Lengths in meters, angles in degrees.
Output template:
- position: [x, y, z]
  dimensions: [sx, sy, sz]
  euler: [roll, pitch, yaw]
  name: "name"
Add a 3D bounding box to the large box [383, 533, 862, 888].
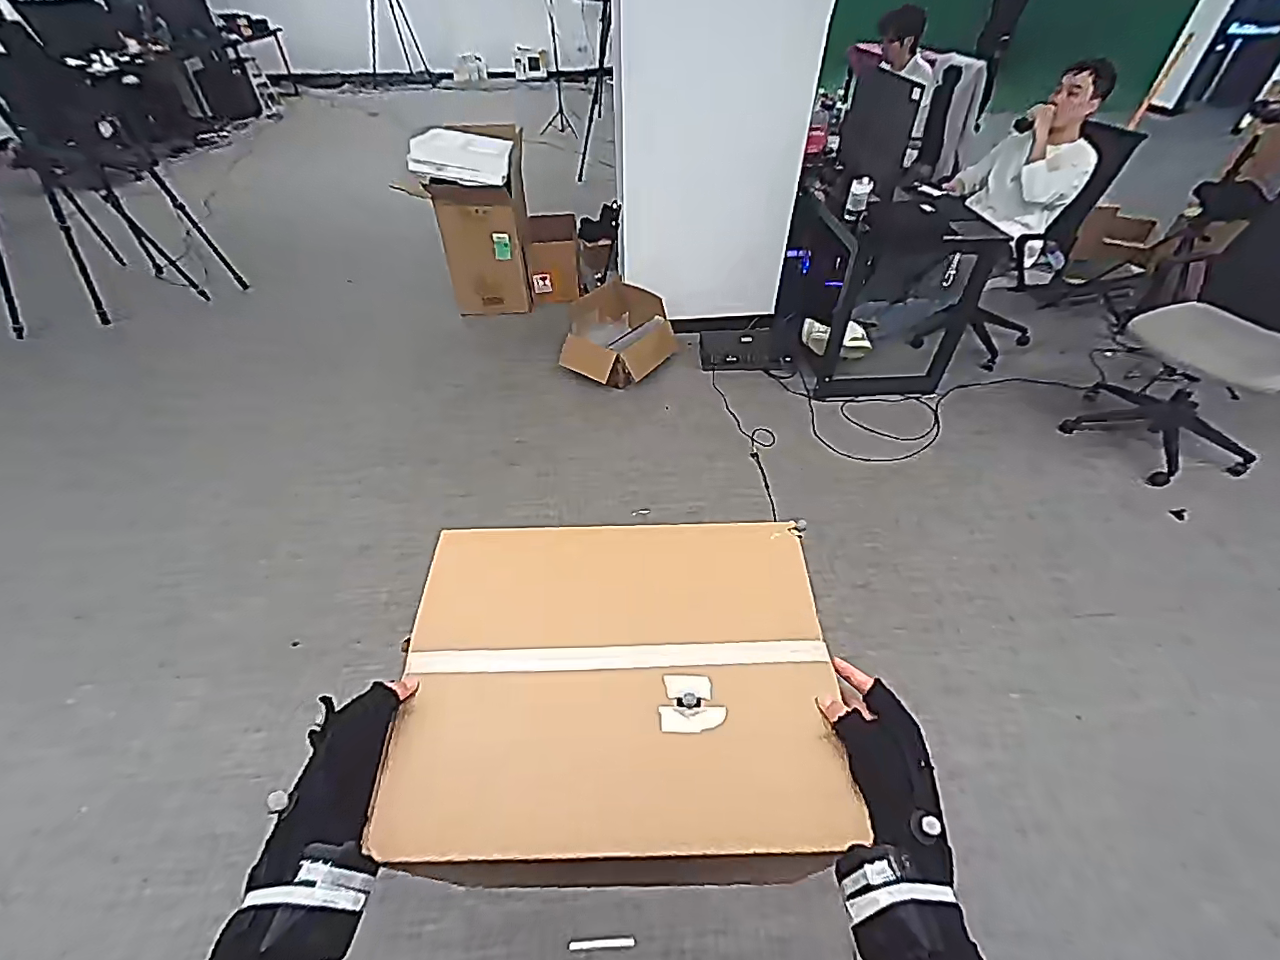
- position: [-0.017, 0.280, 0.649]
  dimensions: [0.408, 0.320, 0.320]
  euler: [-1, 50, 0]
  name: "large box"
